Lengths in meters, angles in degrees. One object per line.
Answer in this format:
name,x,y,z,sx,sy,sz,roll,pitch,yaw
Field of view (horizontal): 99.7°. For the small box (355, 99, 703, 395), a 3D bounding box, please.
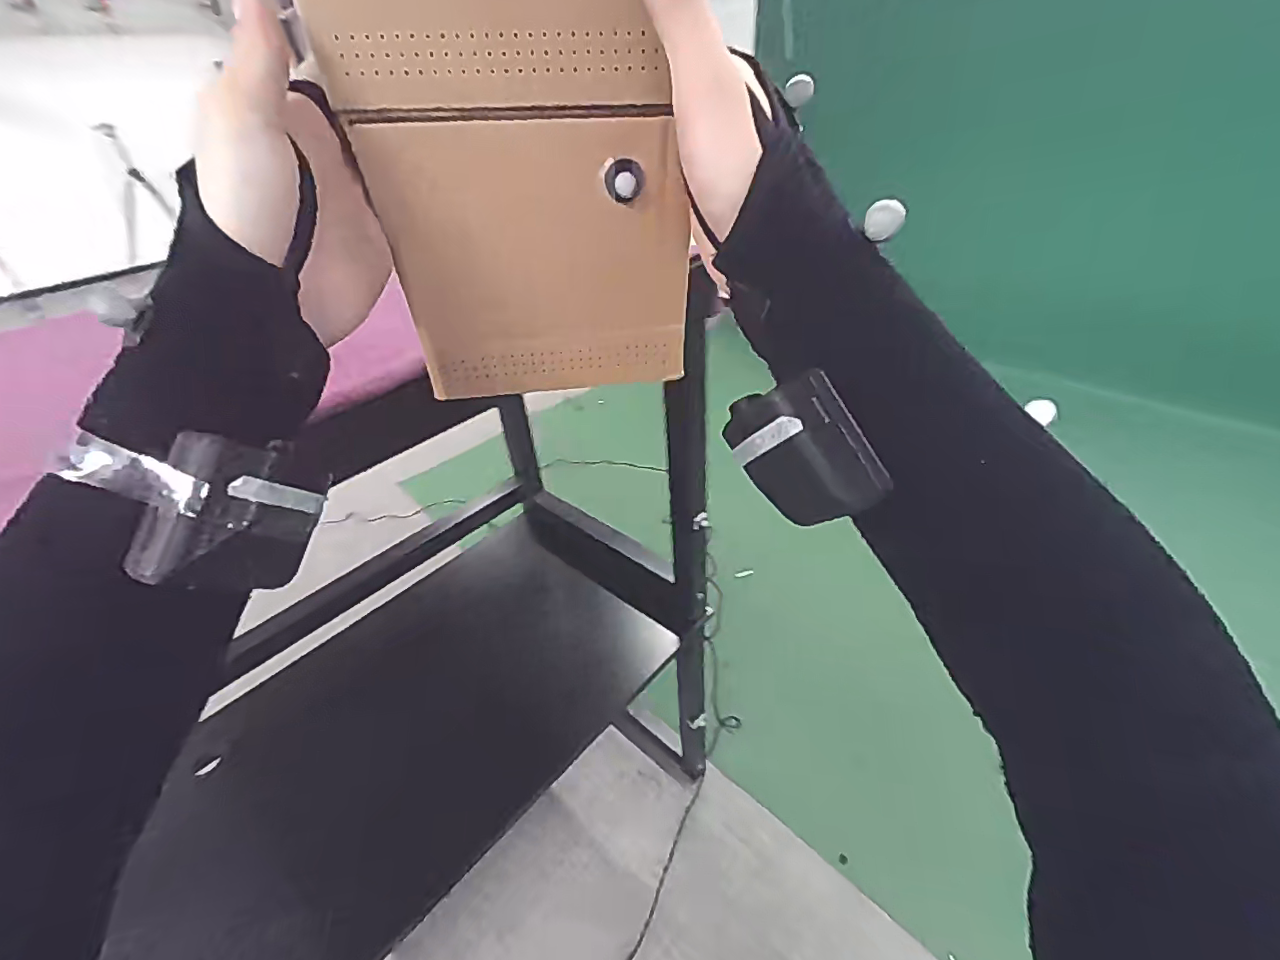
small box,-0.063,-0.173,0.378,0.179,0.176,0.168,-6,46,-7
